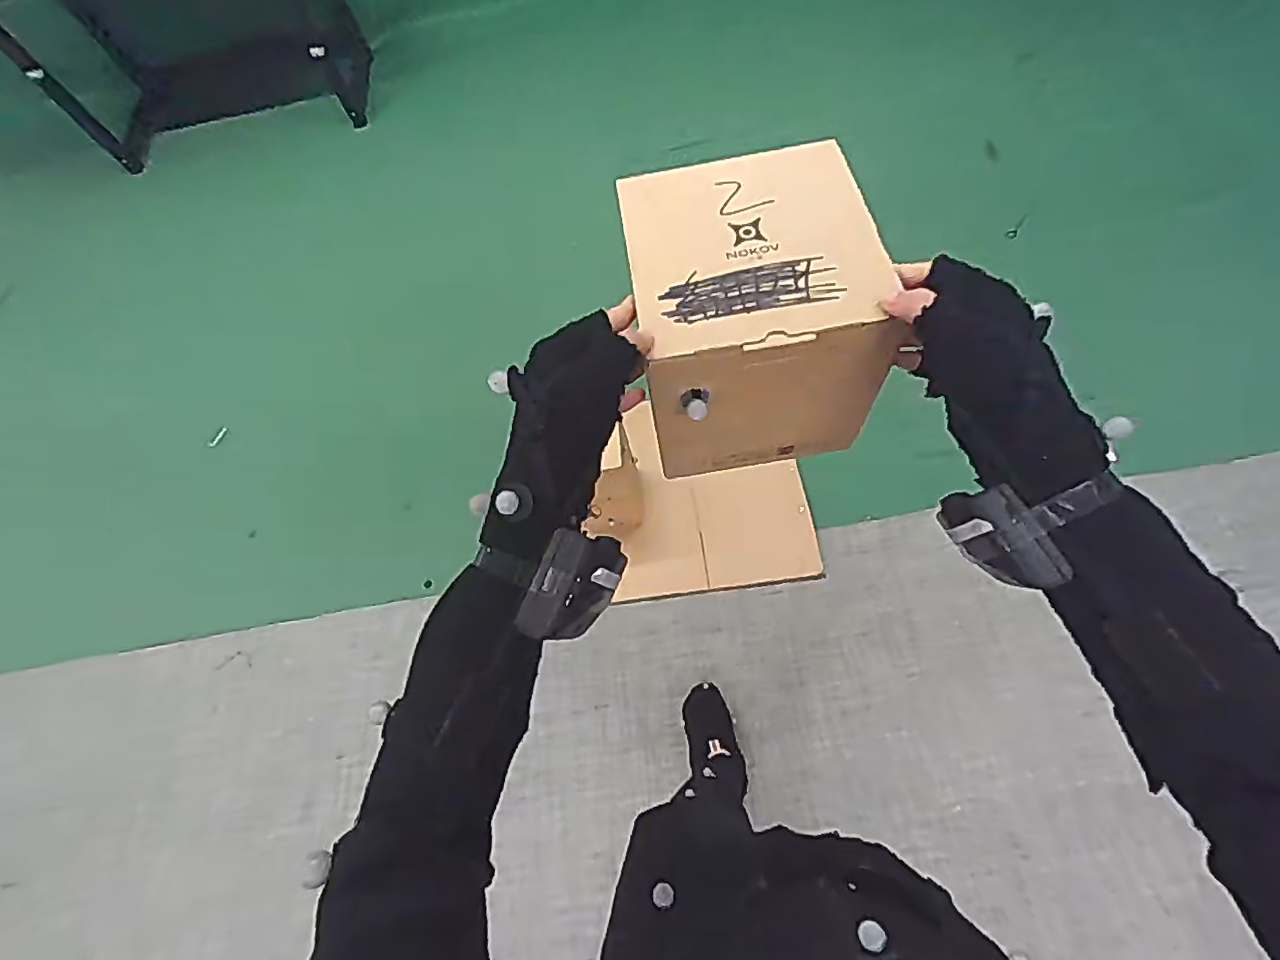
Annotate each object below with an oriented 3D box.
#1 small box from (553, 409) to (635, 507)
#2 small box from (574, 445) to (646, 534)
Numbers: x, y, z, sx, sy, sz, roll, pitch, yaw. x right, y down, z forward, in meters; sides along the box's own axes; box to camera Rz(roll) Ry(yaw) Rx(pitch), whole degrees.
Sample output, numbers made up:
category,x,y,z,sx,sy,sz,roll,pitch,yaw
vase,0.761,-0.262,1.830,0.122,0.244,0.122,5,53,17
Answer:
category,x,y,z,sx,sy,sz,roll,pitch,yaw
small box,-0.109,-0.044,1.319,0.168,0.176,0.179,-8,62,5
small box,-0.084,0.029,1.464,0.168,0.176,0.179,-10,63,5
